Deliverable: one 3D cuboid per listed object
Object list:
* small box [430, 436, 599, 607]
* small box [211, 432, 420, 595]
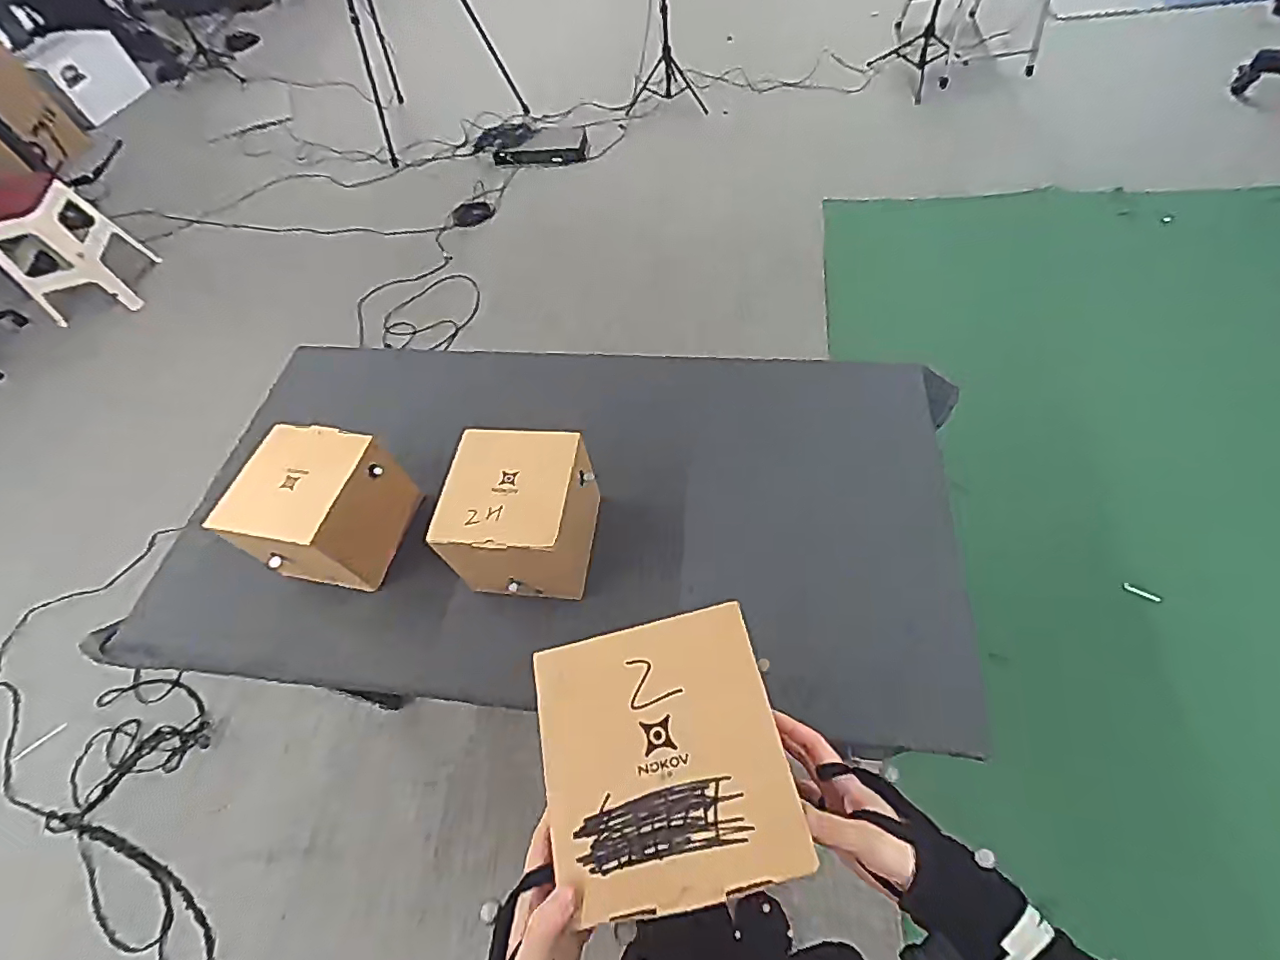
[{"bbox_3d":[-0.159,0.060,0.759,0.168,0.176,0.179,3,57,9],"label":"small box"},{"bbox_3d":[-0.458,0.054,0.801,0.168,0.176,0.179,7,57,11],"label":"small box"}]
